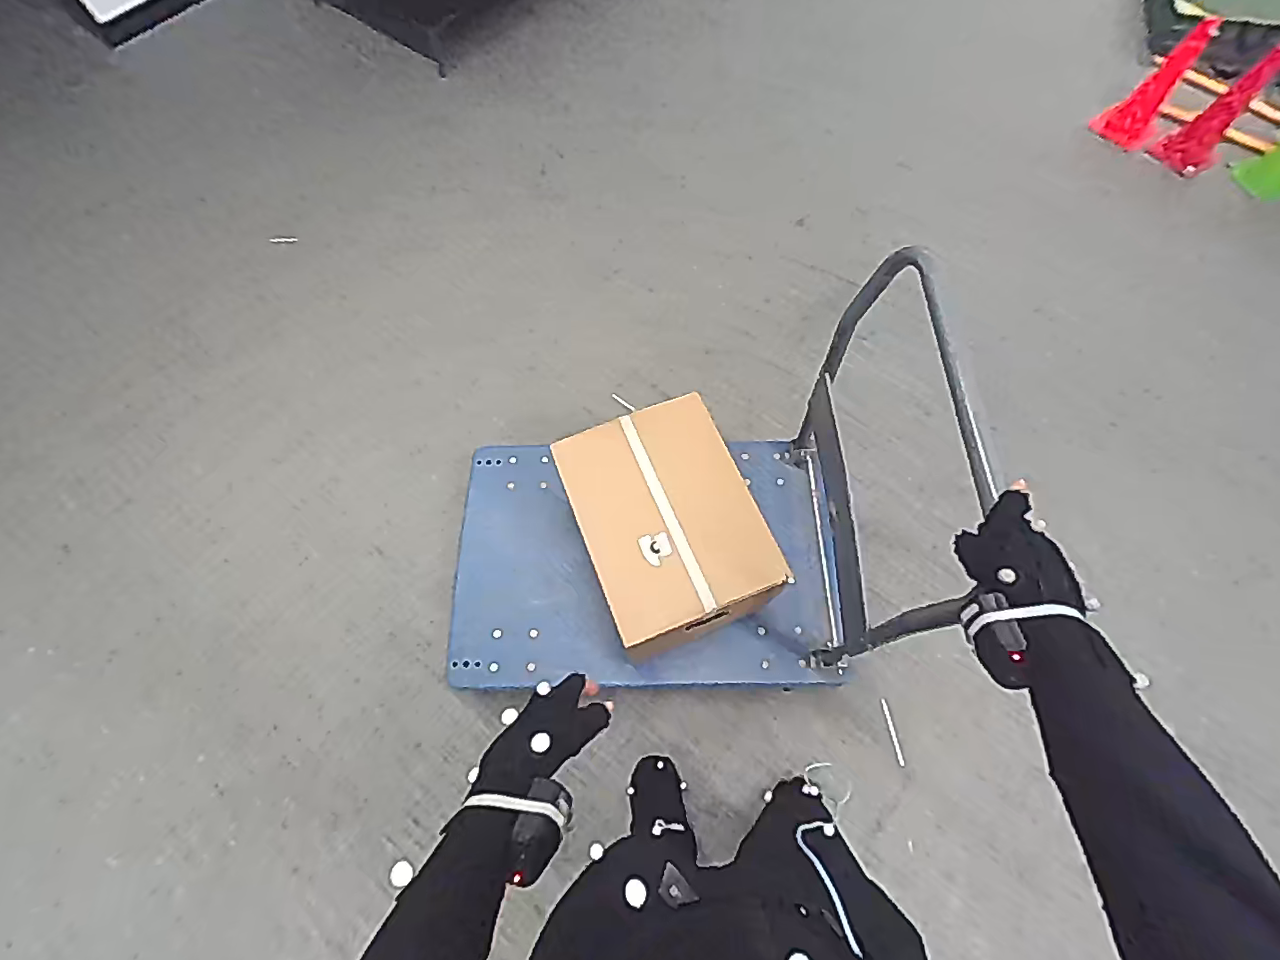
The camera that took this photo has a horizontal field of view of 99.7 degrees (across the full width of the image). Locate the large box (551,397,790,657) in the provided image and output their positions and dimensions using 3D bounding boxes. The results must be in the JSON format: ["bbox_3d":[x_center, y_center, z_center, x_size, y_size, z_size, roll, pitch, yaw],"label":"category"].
[{"bbox_3d":[0.045,0.108,1.127,0.320,0.320,0.408,-22,69,-8],"label":"large box"}]
